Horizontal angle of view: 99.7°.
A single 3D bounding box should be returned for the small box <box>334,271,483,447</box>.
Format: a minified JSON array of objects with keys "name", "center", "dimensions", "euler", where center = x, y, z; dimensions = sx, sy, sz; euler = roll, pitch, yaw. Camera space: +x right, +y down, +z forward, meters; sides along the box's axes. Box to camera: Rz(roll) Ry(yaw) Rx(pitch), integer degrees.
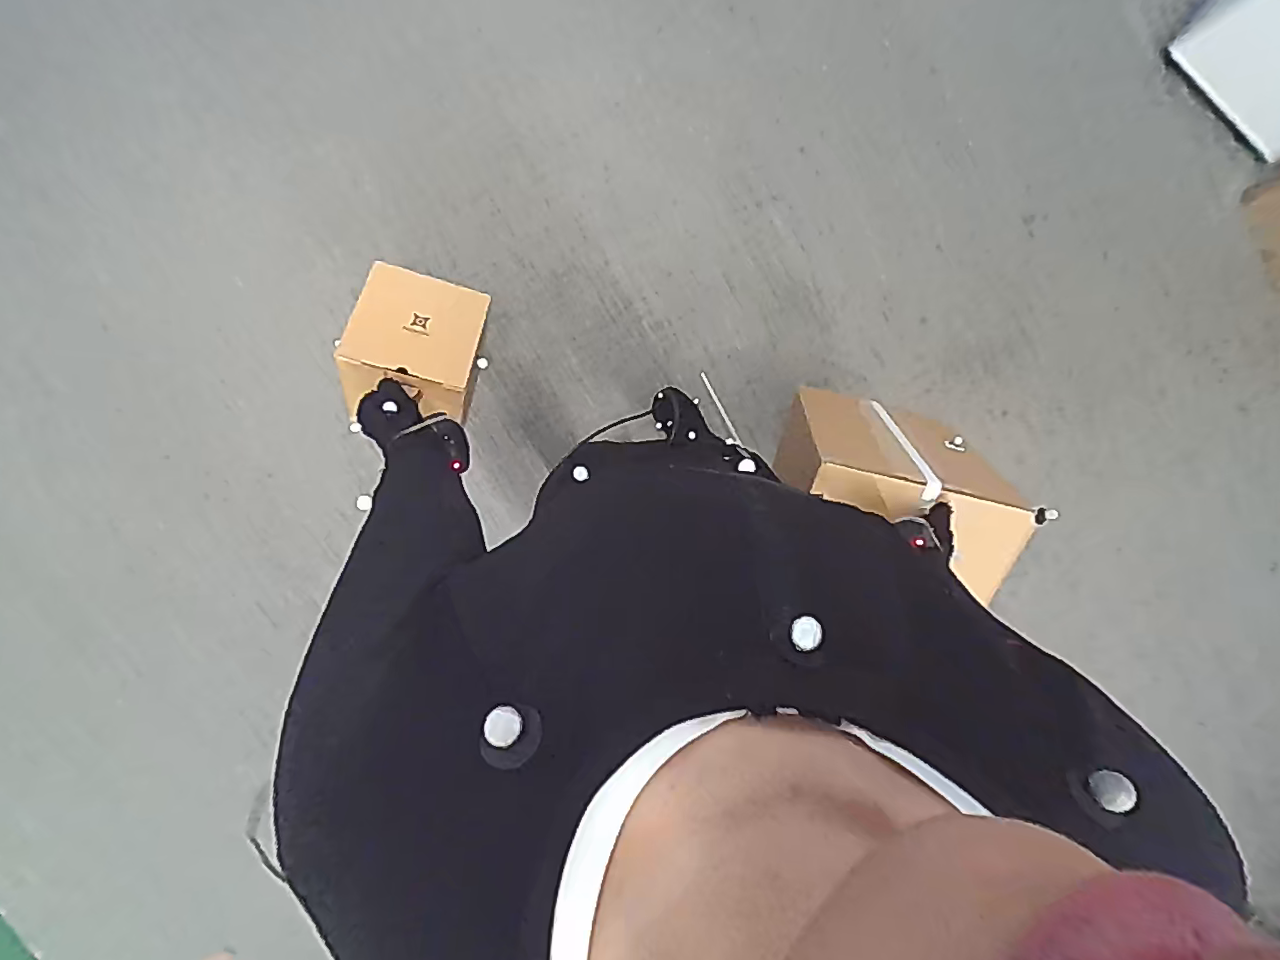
[{"name":"small box","center":[-0.345,-0.176,0.827],"dimensions":[0.168,0.176,0.179],"euler":[11,61,-16]}]
